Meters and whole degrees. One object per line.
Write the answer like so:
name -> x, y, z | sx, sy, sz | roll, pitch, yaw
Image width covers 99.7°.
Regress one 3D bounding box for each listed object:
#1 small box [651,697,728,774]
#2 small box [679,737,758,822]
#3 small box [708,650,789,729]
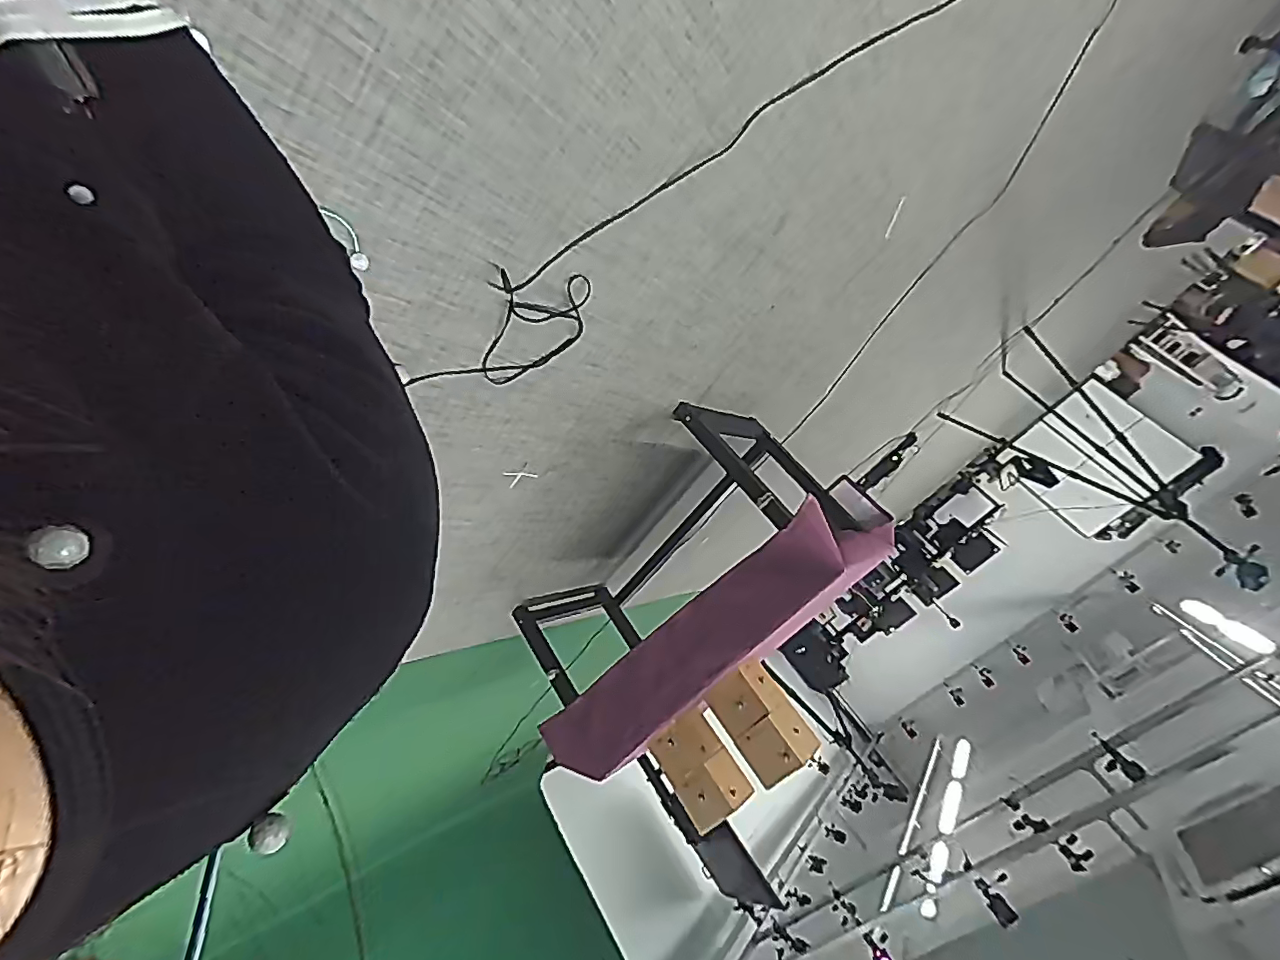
small box -> 0.175, 0.904, 1.932 | 0.168, 0.176, 0.179 | -48, 153, 20
small box -> 0.266, 1.023, 1.862 | 0.168, 0.176, 0.179 | -48, 153, 22
small box -> 0.360, 0.688, 1.804 | 0.179, 0.176, 0.168 | -49, 153, 21
